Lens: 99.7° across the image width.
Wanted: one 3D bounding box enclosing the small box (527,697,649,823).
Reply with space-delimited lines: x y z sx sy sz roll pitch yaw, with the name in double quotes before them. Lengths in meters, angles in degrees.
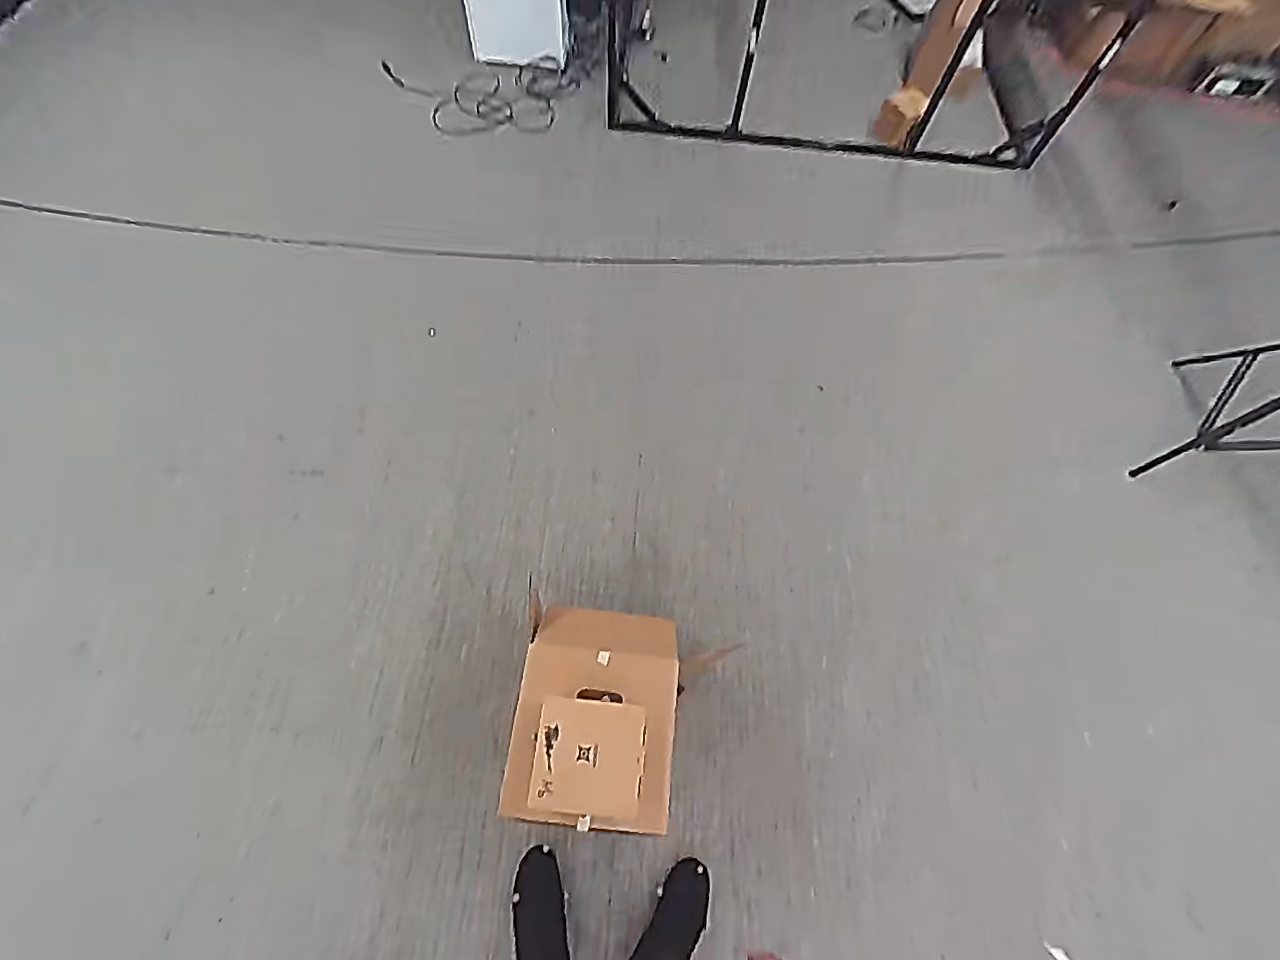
"small box" -0.085 0.477 0.936 0.179 0.176 0.168 7 64 -1
